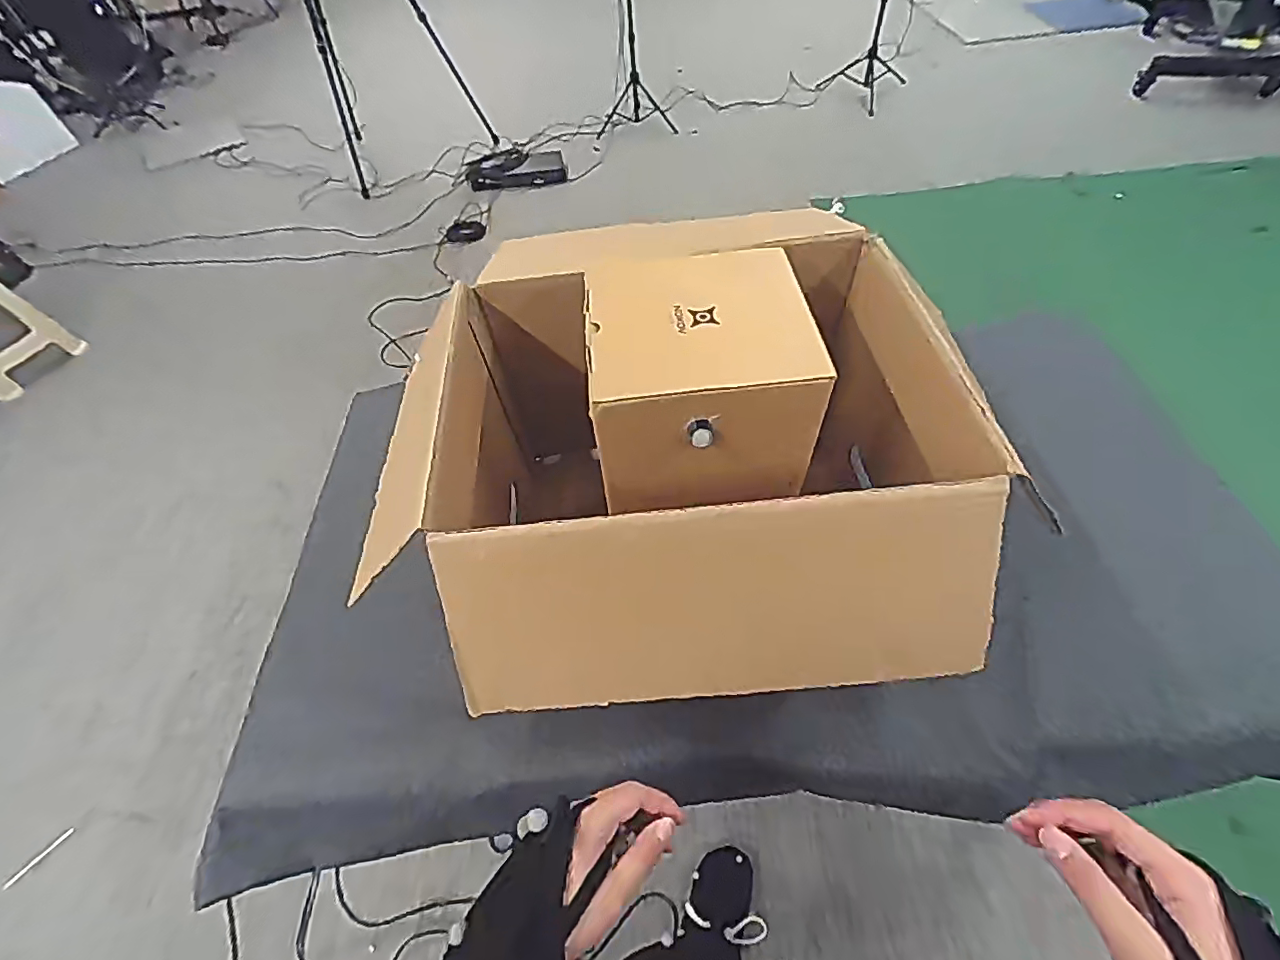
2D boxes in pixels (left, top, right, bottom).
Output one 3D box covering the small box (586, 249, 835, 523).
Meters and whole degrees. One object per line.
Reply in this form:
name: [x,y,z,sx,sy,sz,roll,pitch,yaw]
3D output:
small box: [0.049,-0.077,0.484,0.179,0.176,0.168,-6,54,1]
